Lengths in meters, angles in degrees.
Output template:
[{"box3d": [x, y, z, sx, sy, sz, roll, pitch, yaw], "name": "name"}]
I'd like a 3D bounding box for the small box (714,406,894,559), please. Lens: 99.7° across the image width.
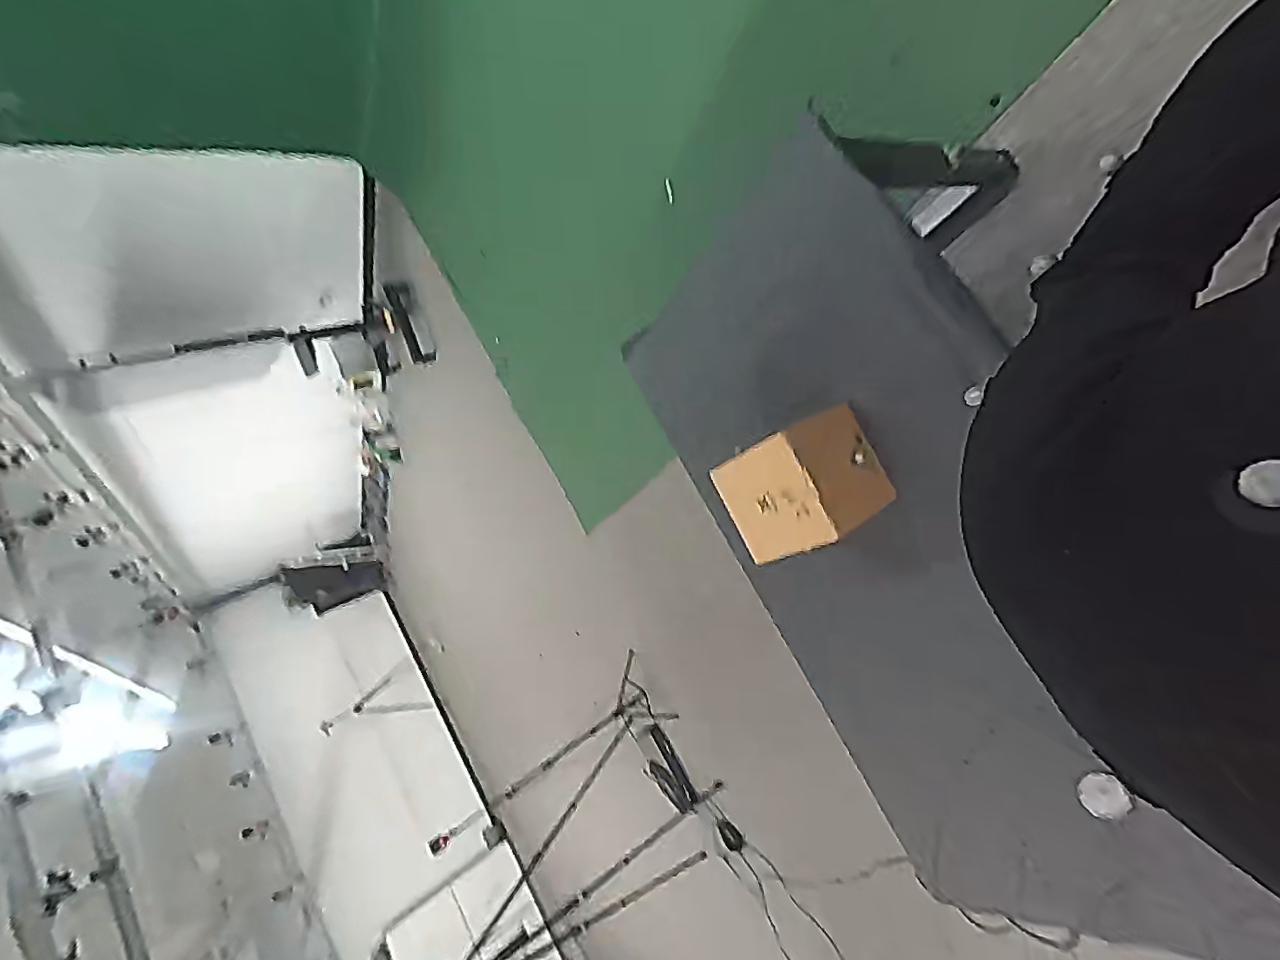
[{"box3d": [0.256, 0.004, 0.851, 0.179, 0.176, 0.168, -35, 81, 54], "name": "small box"}]
